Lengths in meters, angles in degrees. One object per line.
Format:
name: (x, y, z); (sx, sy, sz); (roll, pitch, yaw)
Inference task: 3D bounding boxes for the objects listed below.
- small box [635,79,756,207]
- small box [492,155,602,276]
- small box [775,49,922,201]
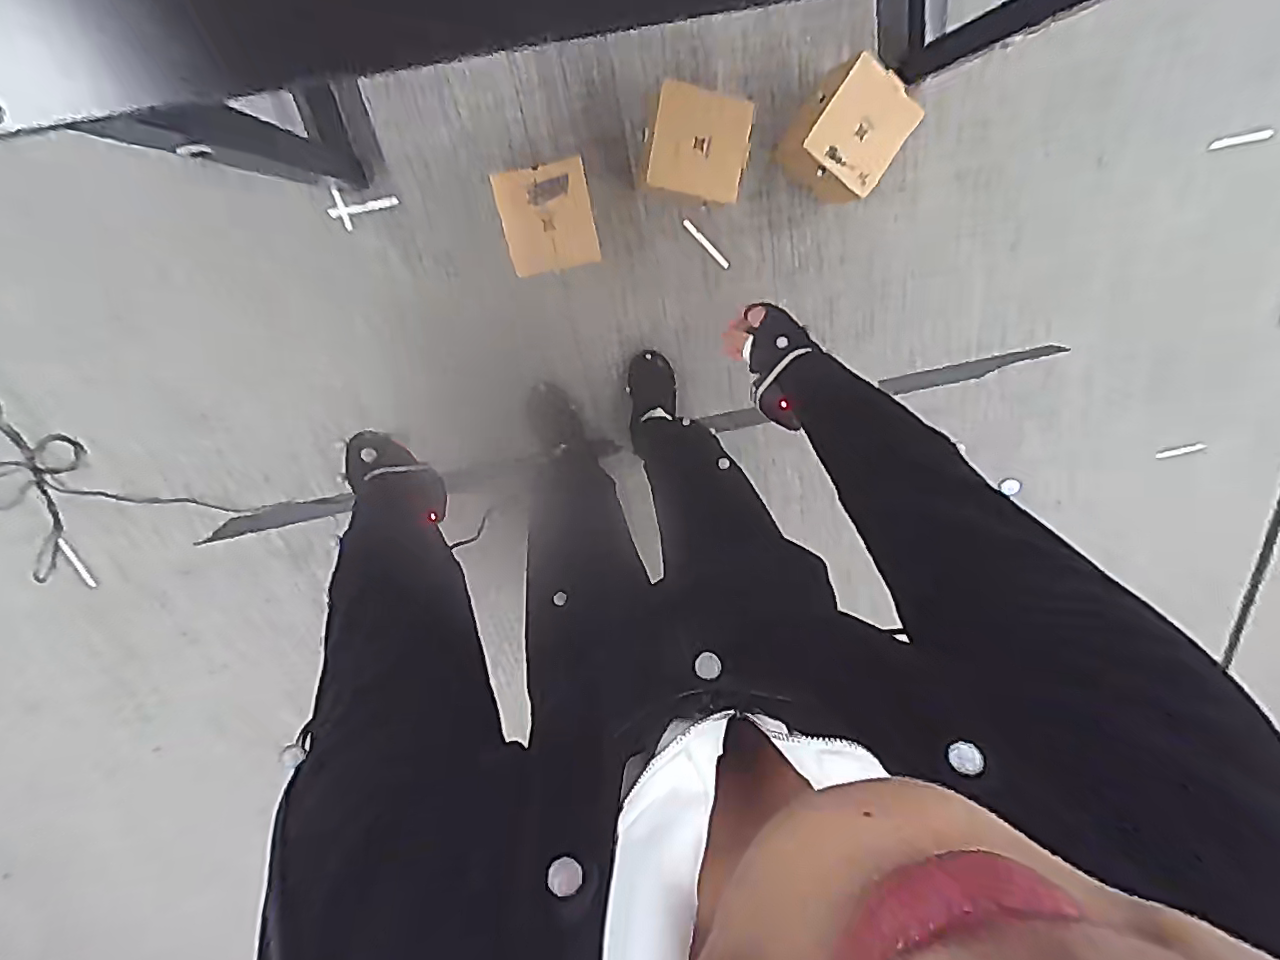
small box: (0.096, -0.632, 1.037); (0.179, 0.176, 0.168); (7, 112, -10)
small box: (-0.178, -0.507, 1.050); (0.168, 0.176, 0.179); (-14, 116, -2)
small box: (0.396, -0.677, 1.059); (0.168, 0.176, 0.179); (28, 107, -18)
